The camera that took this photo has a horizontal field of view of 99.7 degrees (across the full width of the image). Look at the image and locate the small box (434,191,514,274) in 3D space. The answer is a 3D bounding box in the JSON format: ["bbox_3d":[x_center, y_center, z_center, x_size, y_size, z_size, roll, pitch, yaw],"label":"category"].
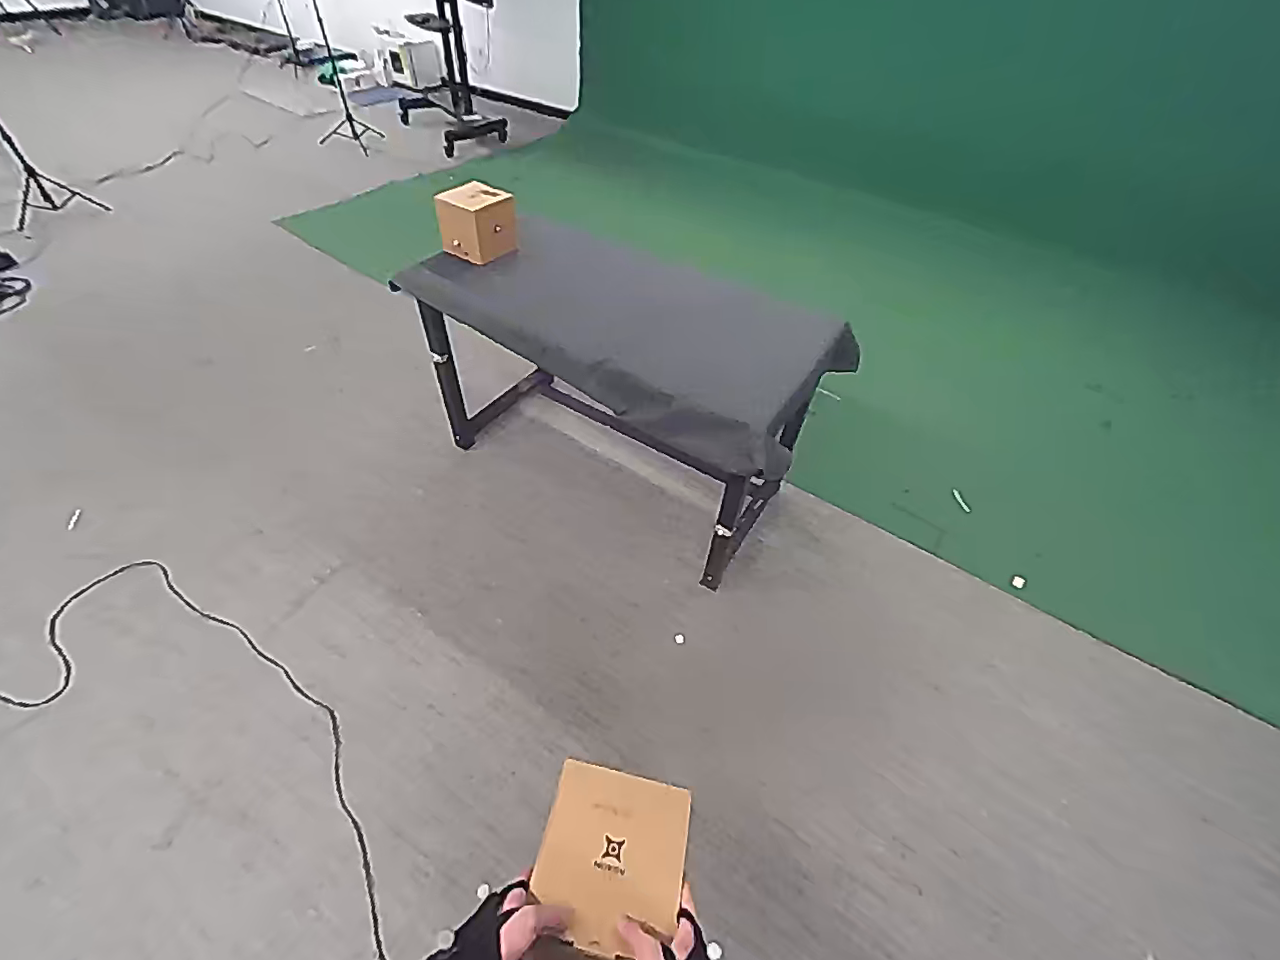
[{"bbox_3d":[-0.516,-0.782,1.710,0.168,0.176,0.179,27,51,19],"label":"small box"}]

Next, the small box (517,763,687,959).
[{"bbox_3d":[-0.045,0.490,0.668,0.168,0.176,0.179,13,39,1],"label":"small box"}]
